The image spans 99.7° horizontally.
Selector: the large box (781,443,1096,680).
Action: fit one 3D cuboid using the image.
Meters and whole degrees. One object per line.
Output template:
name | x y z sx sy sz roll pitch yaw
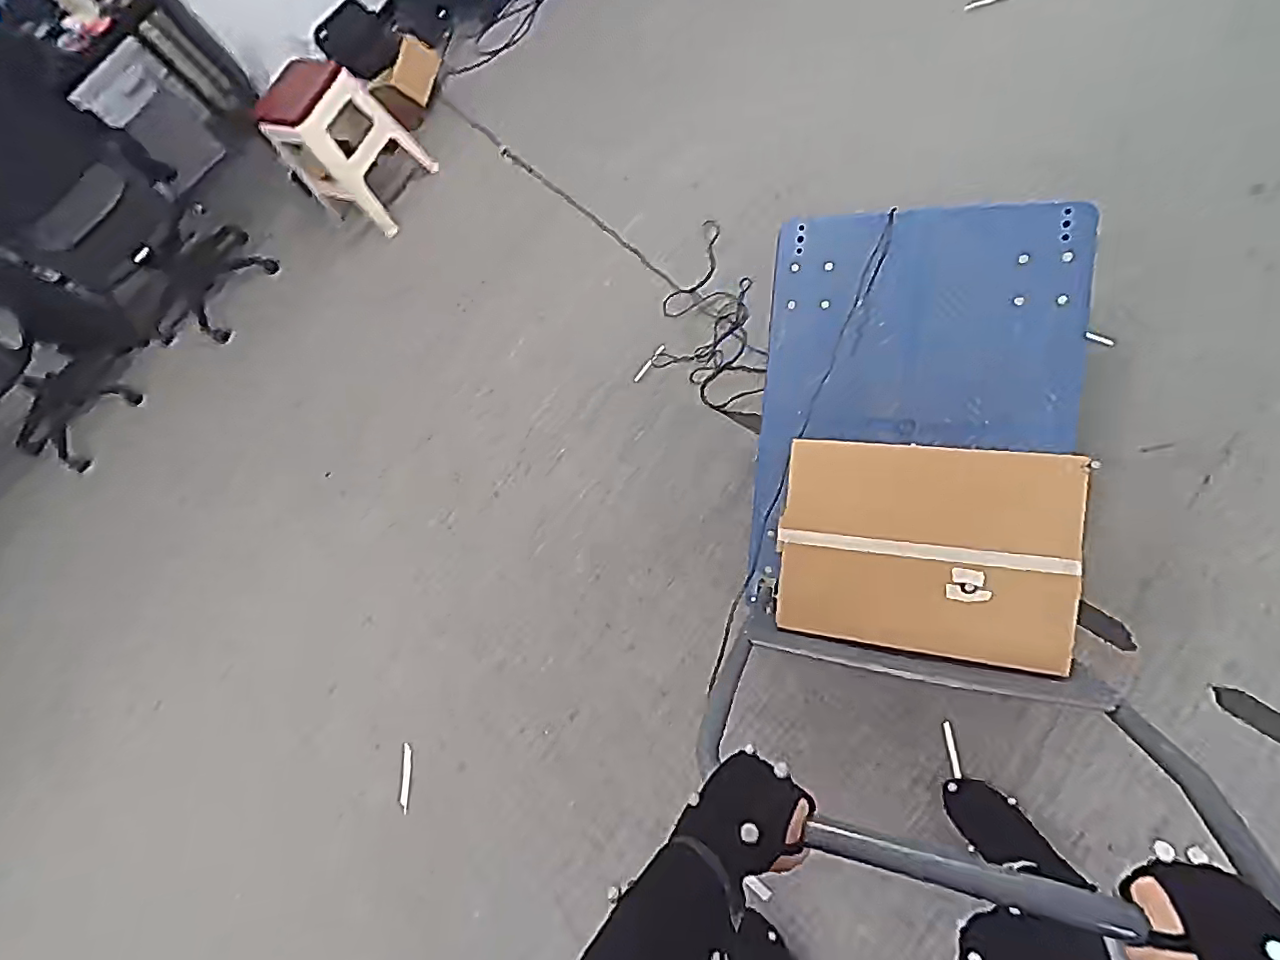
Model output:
large box | 0.469 0.113 0.942 0.408 0.320 0.320 6 92 19
